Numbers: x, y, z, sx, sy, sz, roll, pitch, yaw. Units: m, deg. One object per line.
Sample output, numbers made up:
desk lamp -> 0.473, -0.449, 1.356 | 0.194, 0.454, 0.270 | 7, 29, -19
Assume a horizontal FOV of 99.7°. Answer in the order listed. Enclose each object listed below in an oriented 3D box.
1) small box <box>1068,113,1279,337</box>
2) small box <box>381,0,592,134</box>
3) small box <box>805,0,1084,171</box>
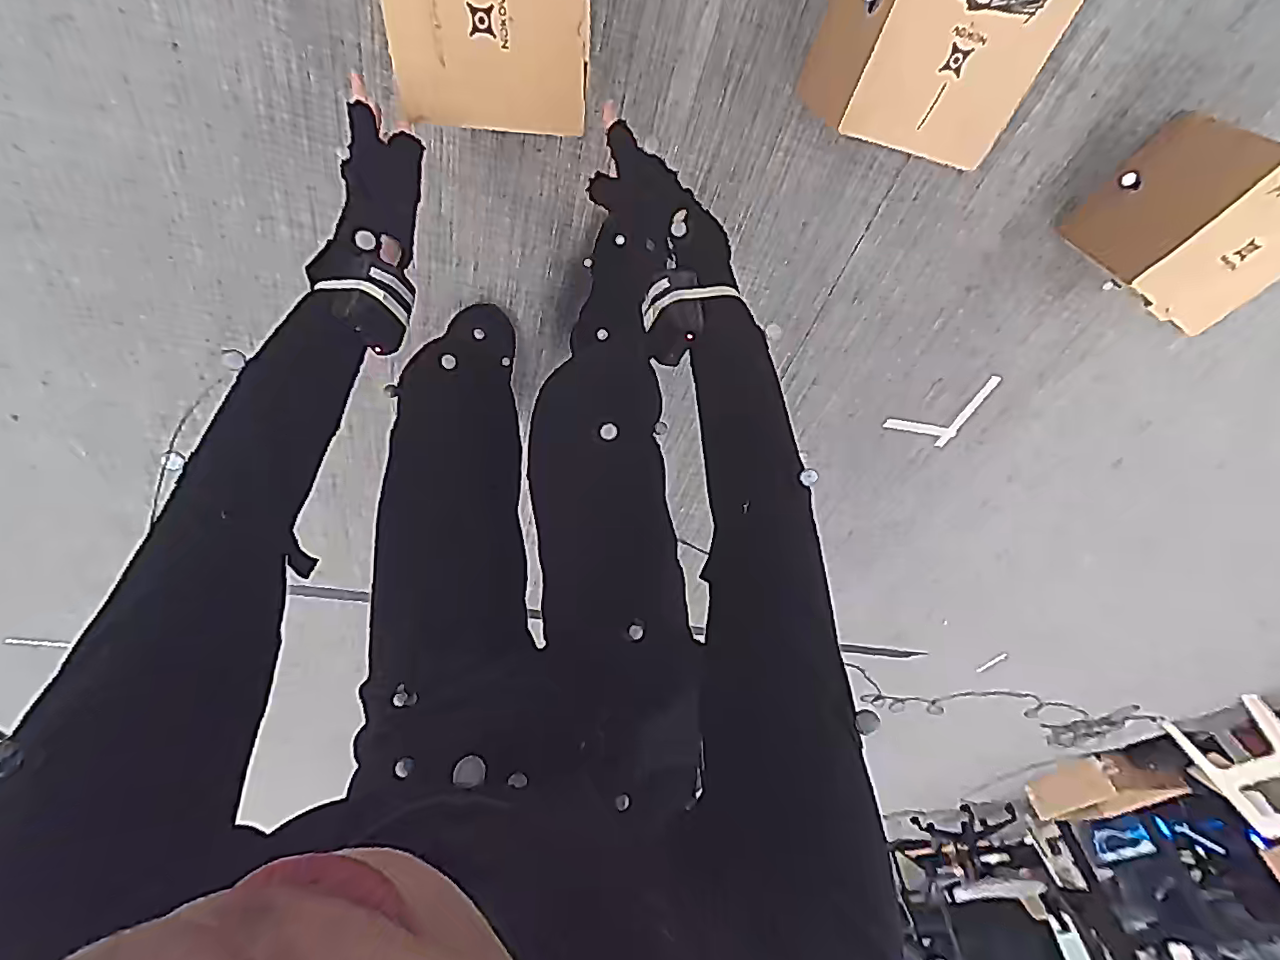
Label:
small box -> 0.713, -0.329, 0.705 | 0.168, 0.176, 0.179 | 20, 132, -24
small box -> -0.134, -0.453, 0.516 | 0.179, 0.176, 0.168 | 2, 135, -4
small box -> 0.289, -0.451, 0.543 | 0.168, 0.176, 0.179 | 8, 136, -12
